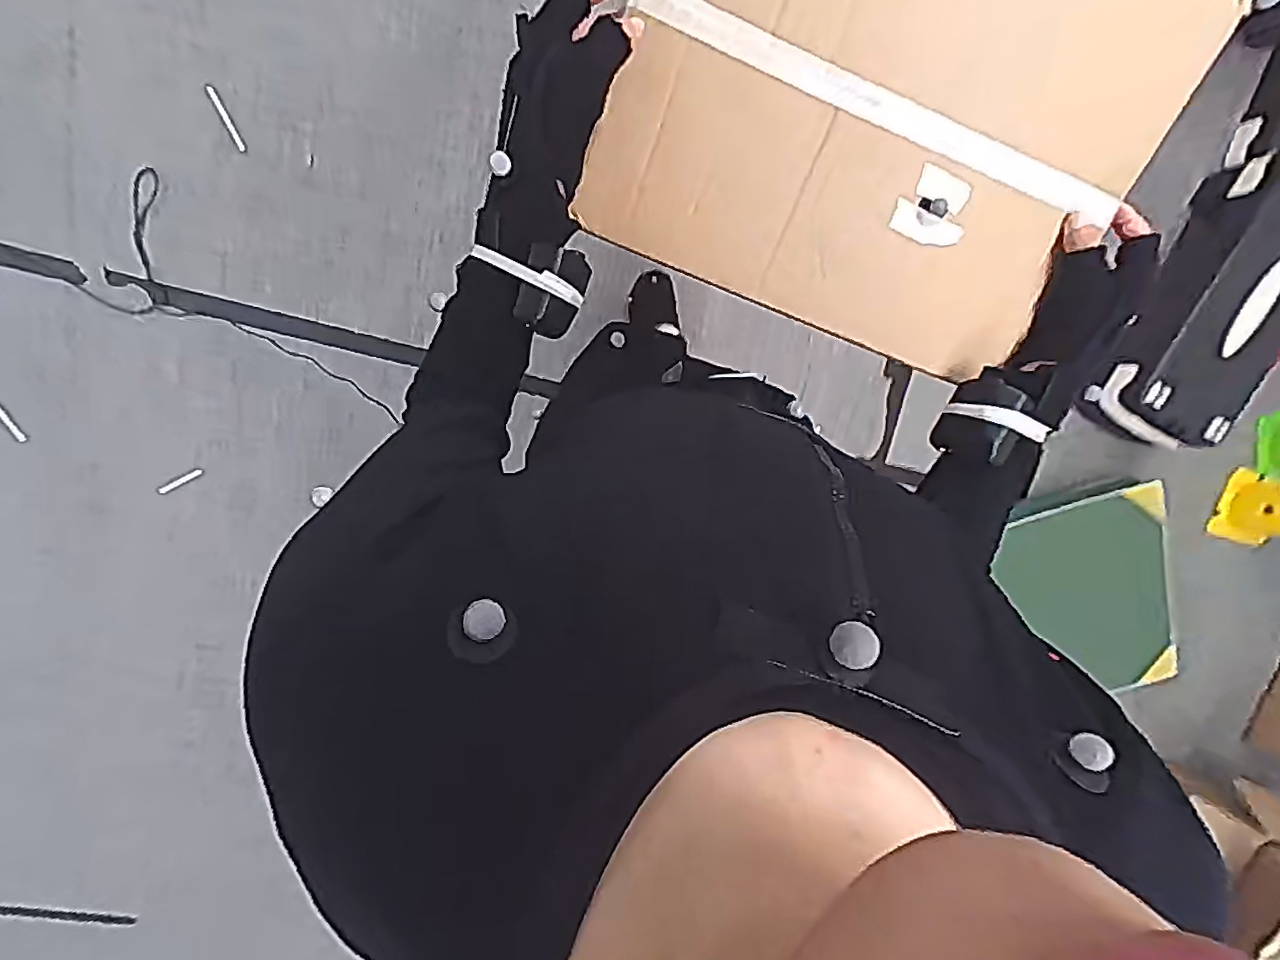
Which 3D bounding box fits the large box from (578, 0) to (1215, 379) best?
[{"bbox_3d":[0.181,-0.343,0.556,0.408,0.320,0.320,19,113,-9],"label":"large box"}]
